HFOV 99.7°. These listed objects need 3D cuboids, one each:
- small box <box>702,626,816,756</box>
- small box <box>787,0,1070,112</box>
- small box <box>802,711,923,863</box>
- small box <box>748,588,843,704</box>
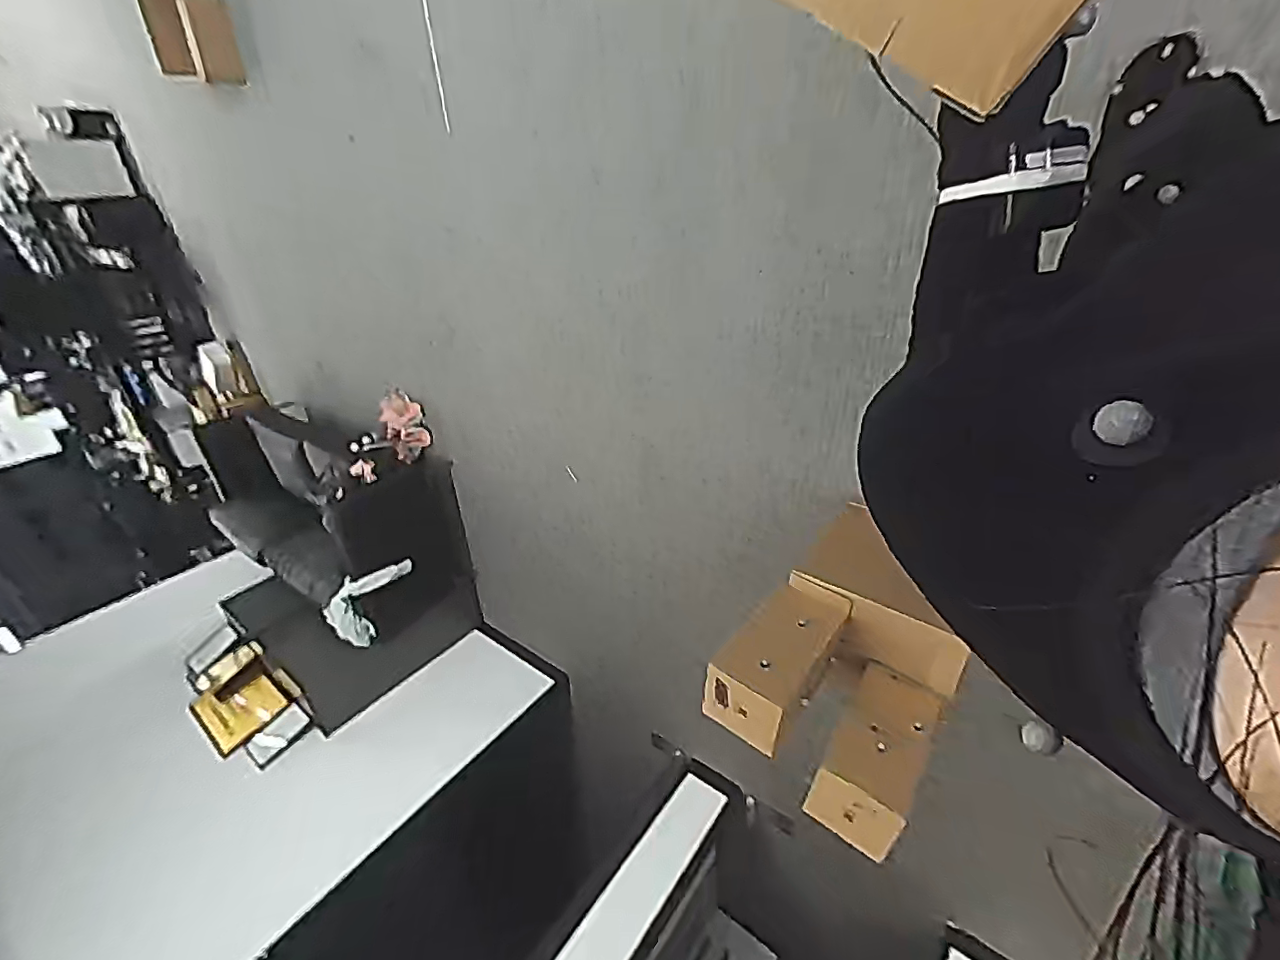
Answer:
[{"bbox_3d":[0.261,0.452,1.192,0.179,0.176,0.168,24,127,31],"label":"small box"},{"bbox_3d":[0.155,-0.313,0.220,0.168,0.179,0.176,31,158,1],"label":"small box"},{"bbox_3d":[0.459,0.625,1.116,0.168,0.176,0.179,25,127,29],"label":"small box"},{"bbox_3d":[0.367,0.389,1.301,0.179,0.176,0.168,23,125,31],"label":"small box"}]
